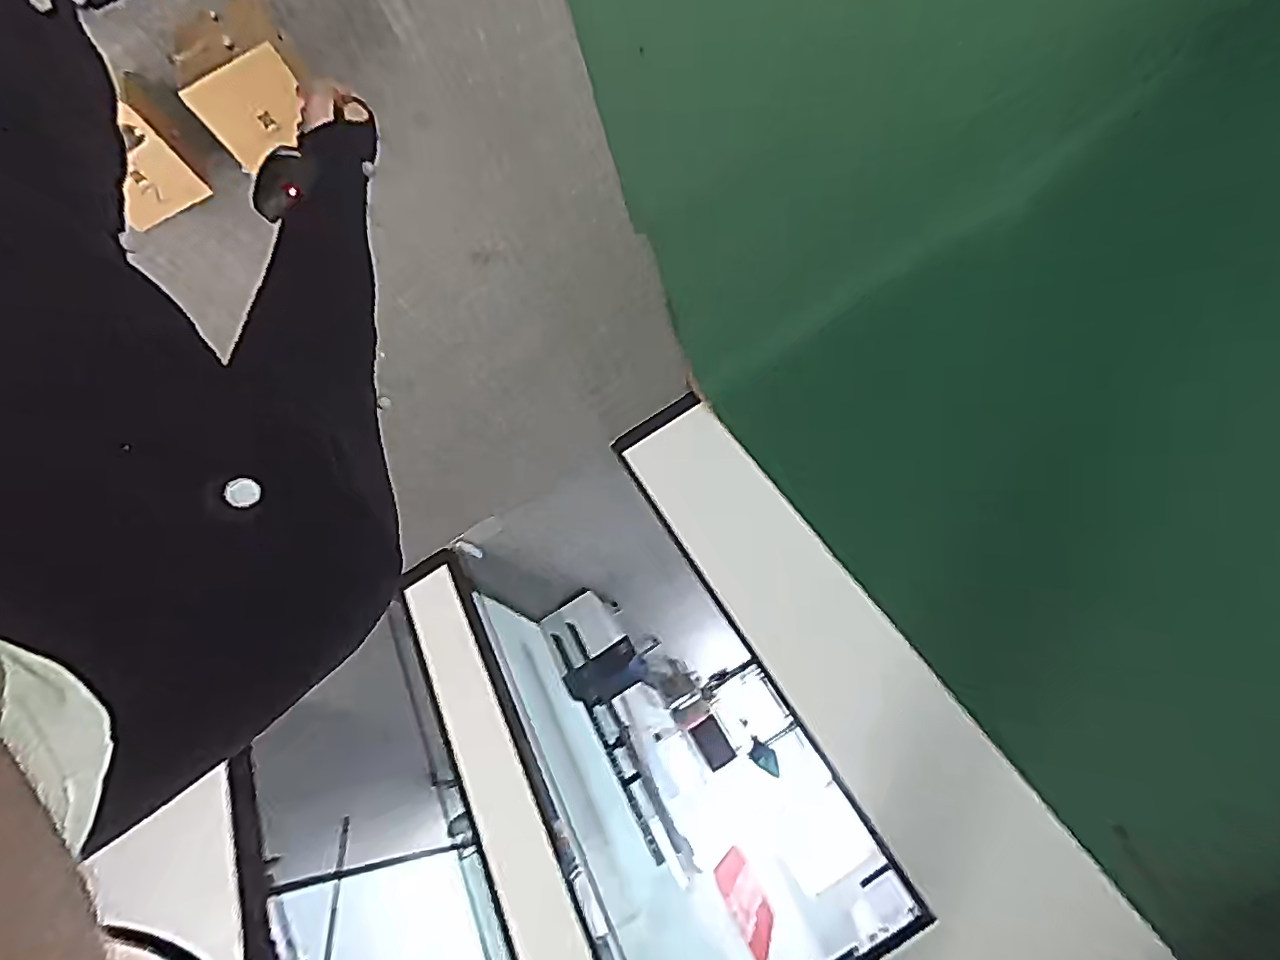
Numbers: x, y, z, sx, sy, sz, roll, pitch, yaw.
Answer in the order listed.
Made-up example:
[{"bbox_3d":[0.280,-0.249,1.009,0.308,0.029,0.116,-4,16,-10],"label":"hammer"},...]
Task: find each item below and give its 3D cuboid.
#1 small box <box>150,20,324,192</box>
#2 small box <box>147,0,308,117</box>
[{"bbox_3d":[-0.692,-0.646,0.929,0.168,0.176,0.179,-32,150,-4],"label":"small box"},{"bbox_3d":[-0.768,-0.765,1.011,0.168,0.176,0.179,-29,150,-6],"label":"small box"}]
